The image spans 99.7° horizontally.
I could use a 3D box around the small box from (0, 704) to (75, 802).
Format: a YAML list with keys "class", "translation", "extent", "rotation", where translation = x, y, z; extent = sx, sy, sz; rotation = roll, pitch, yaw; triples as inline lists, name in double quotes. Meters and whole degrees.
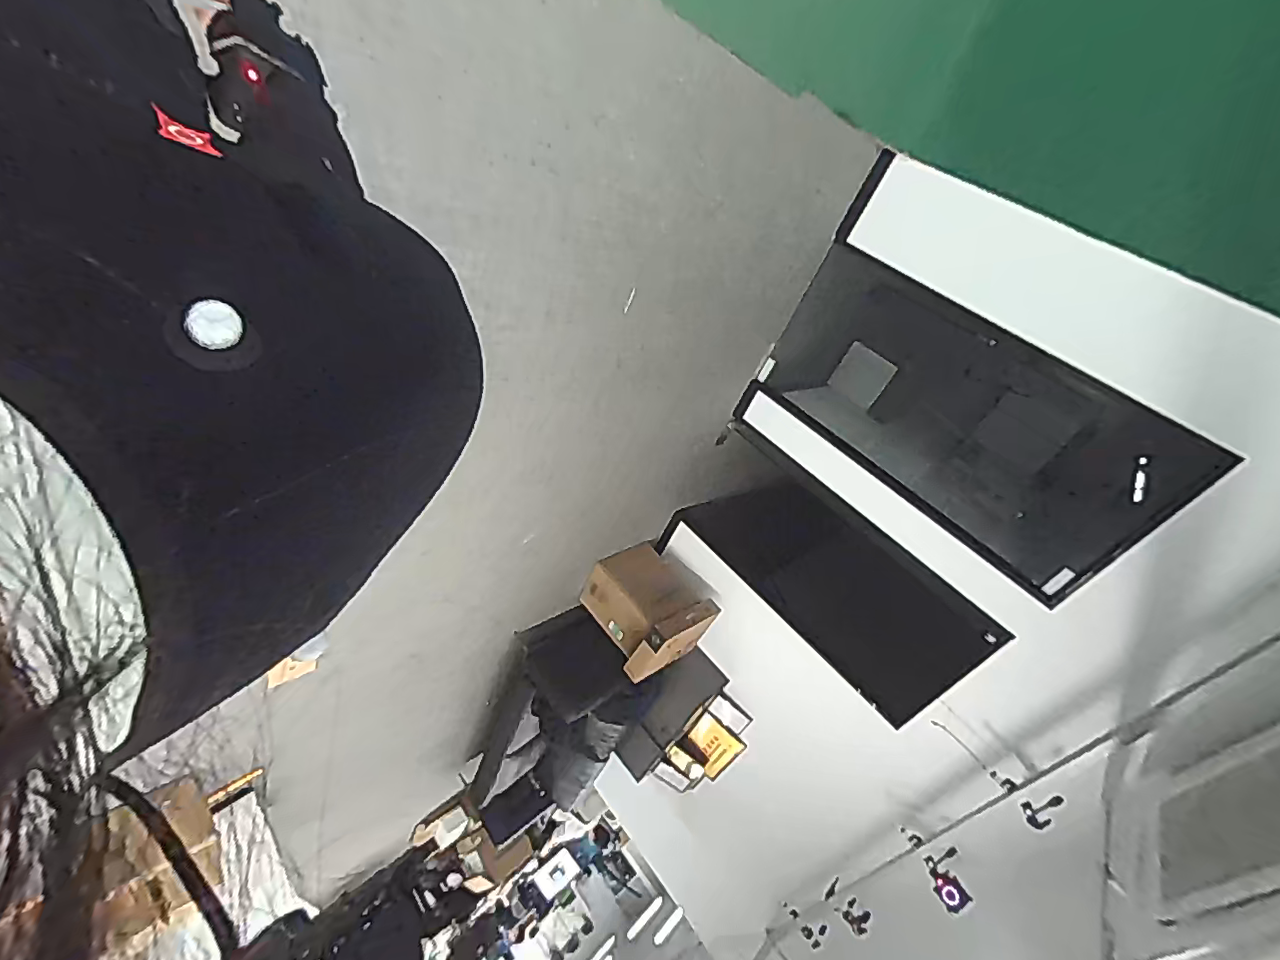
- class: "small box"
  translation: [-1.846, 0.814, 1.618]
  extent: [0.179, 0.176, 0.168]
  rotation: [-18, 143, -46]

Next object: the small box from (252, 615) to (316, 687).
- class: "small box"
  translation: [-1.385, 0.660, 2.101]
  extent: [0.168, 0.176, 0.179]
  rotation: [-18, 143, -46]
